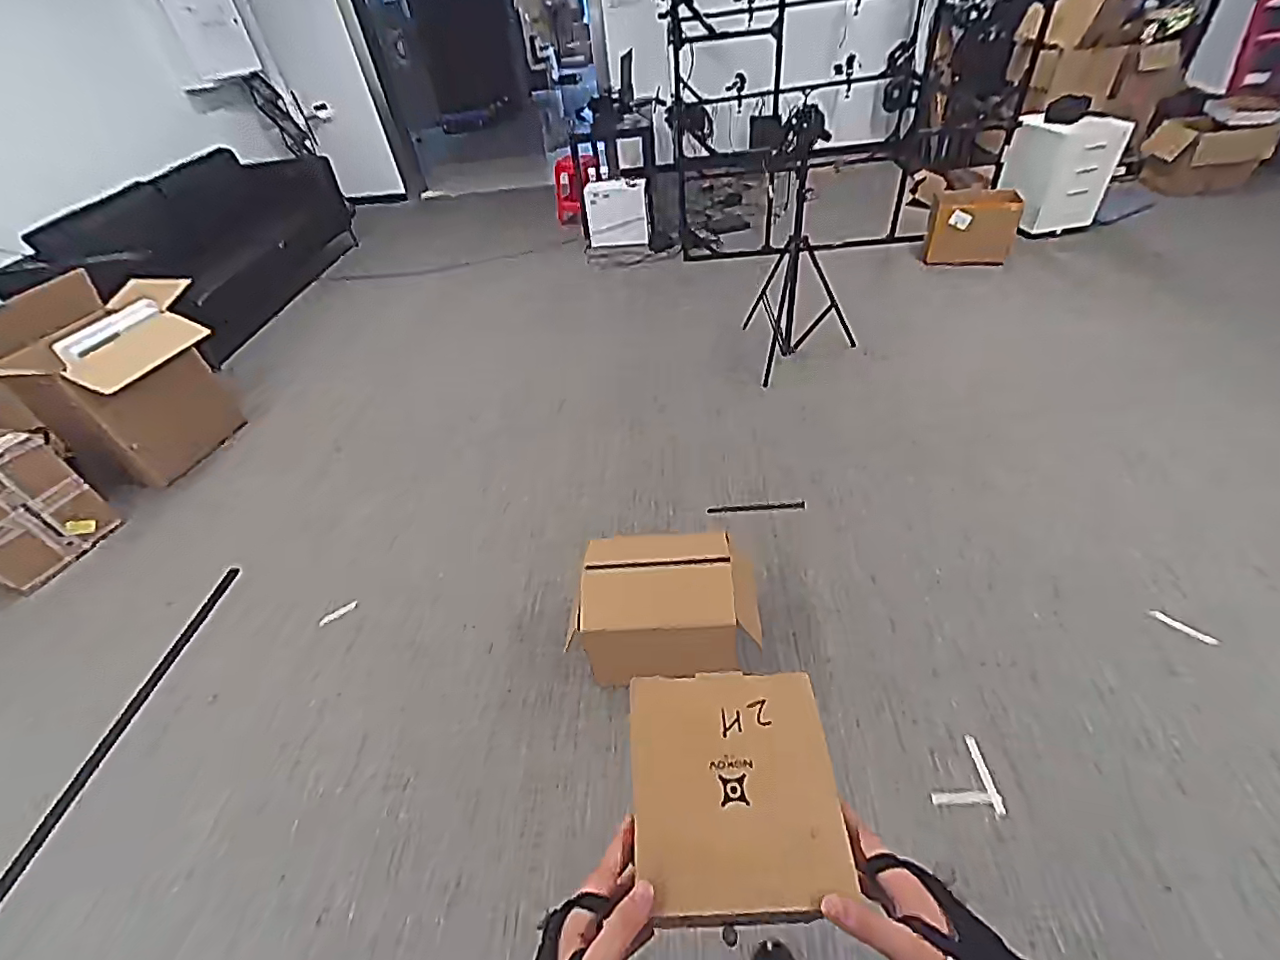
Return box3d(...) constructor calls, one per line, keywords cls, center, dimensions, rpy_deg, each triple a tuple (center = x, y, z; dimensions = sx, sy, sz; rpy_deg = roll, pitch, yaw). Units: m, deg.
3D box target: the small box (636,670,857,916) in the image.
box3d(cls="small box", center=(0.080, 0.300, 0.514), dimensions=(0.168, 0.176, 0.179), rpy_deg=(-1, 47, -2))
